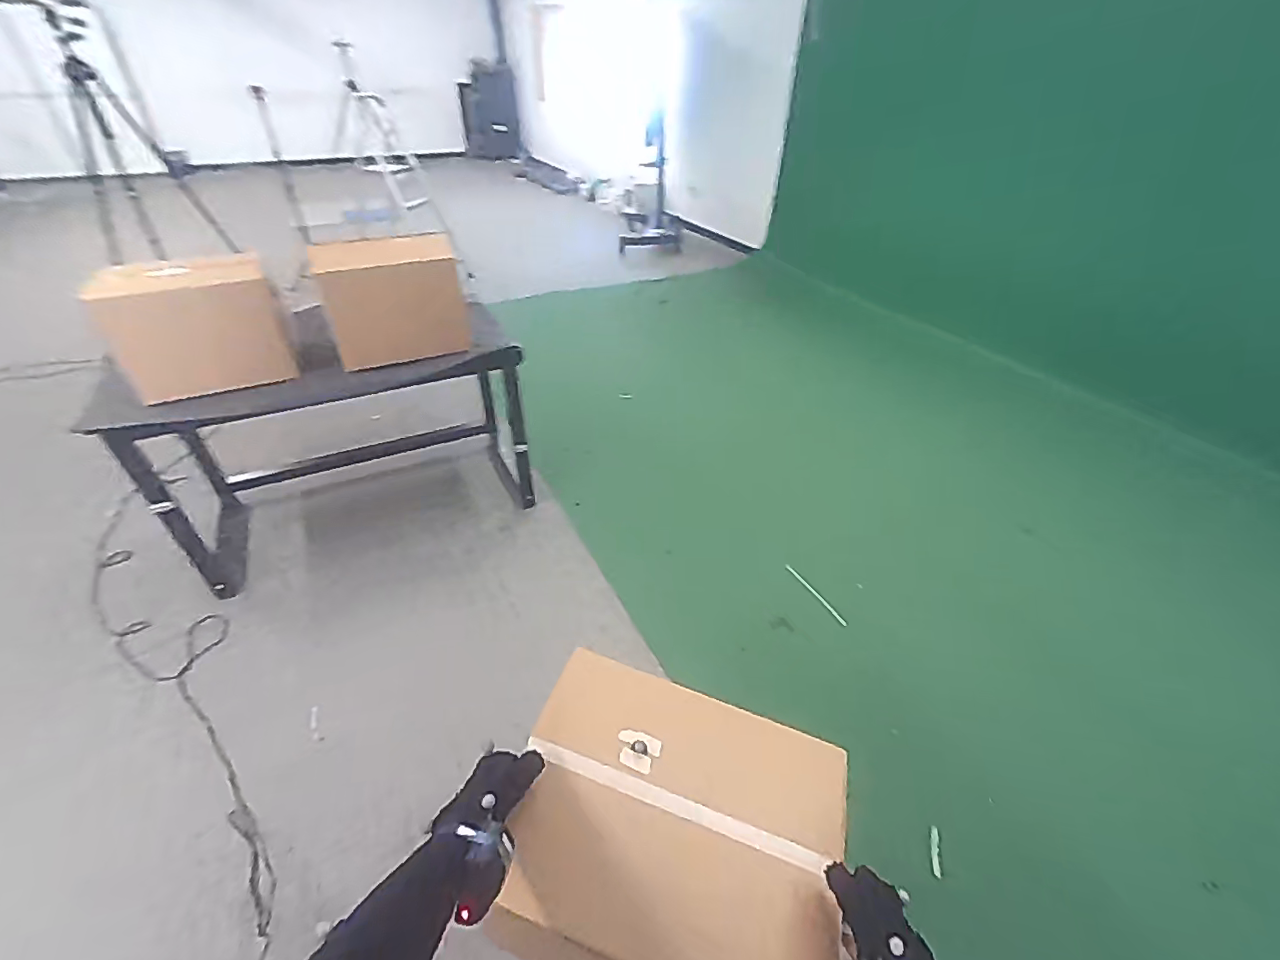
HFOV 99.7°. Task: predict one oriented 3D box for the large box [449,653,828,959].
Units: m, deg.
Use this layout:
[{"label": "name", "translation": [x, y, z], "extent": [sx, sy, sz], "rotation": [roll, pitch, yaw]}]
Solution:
[{"label": "large box", "translation": [0.012, 0.510, 0.755], "extent": [0.408, 0.320, 0.320], "rotation": [16, 40, 10]}]
